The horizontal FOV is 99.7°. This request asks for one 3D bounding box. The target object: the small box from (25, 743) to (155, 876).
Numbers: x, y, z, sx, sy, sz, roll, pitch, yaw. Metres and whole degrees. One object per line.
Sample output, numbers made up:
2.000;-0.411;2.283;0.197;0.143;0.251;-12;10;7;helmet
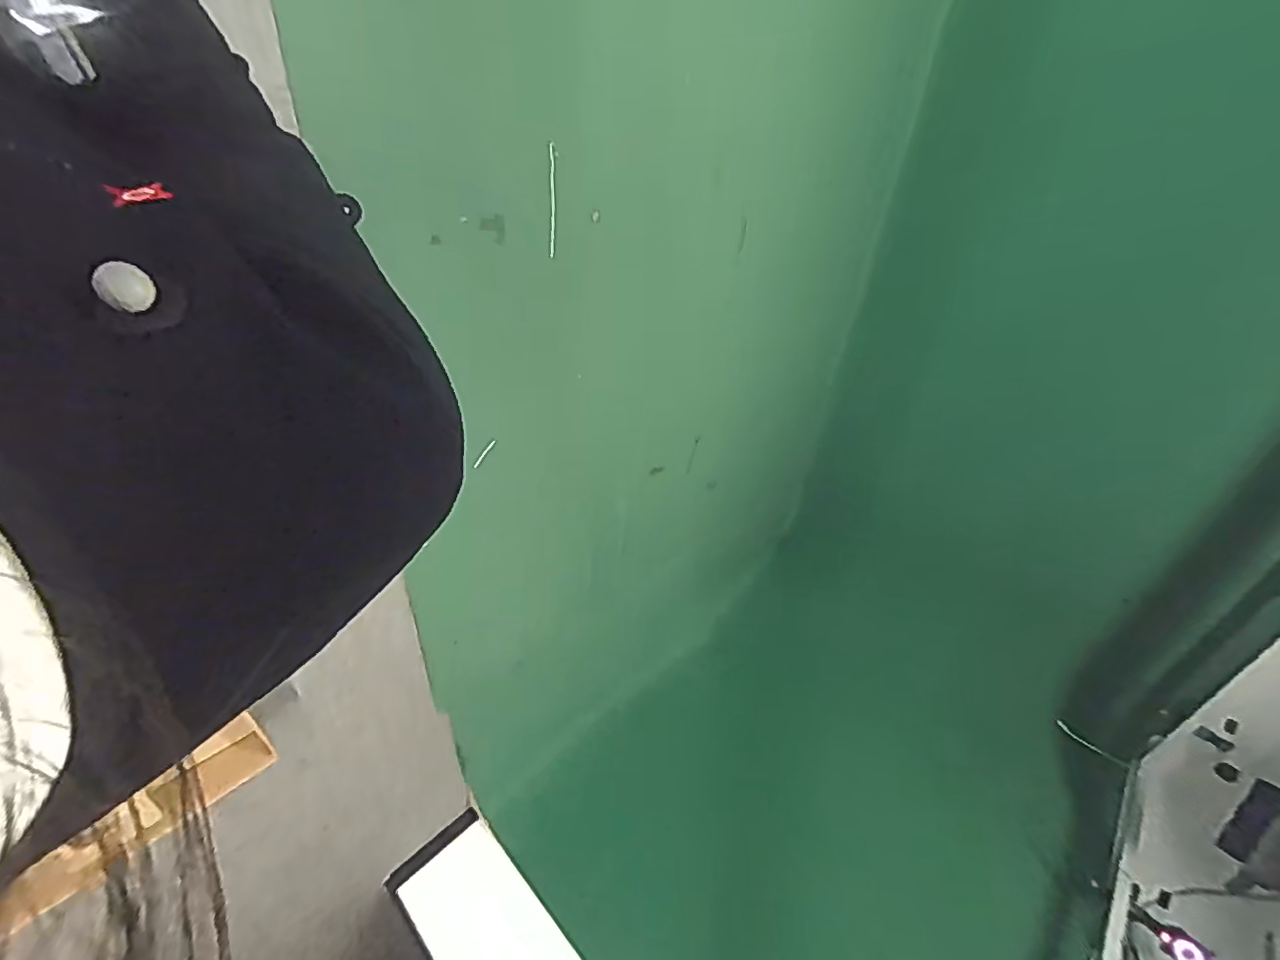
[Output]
-1.334;0.791;1.312;0.179;0.176;0.168;-28;137;-42;small box
